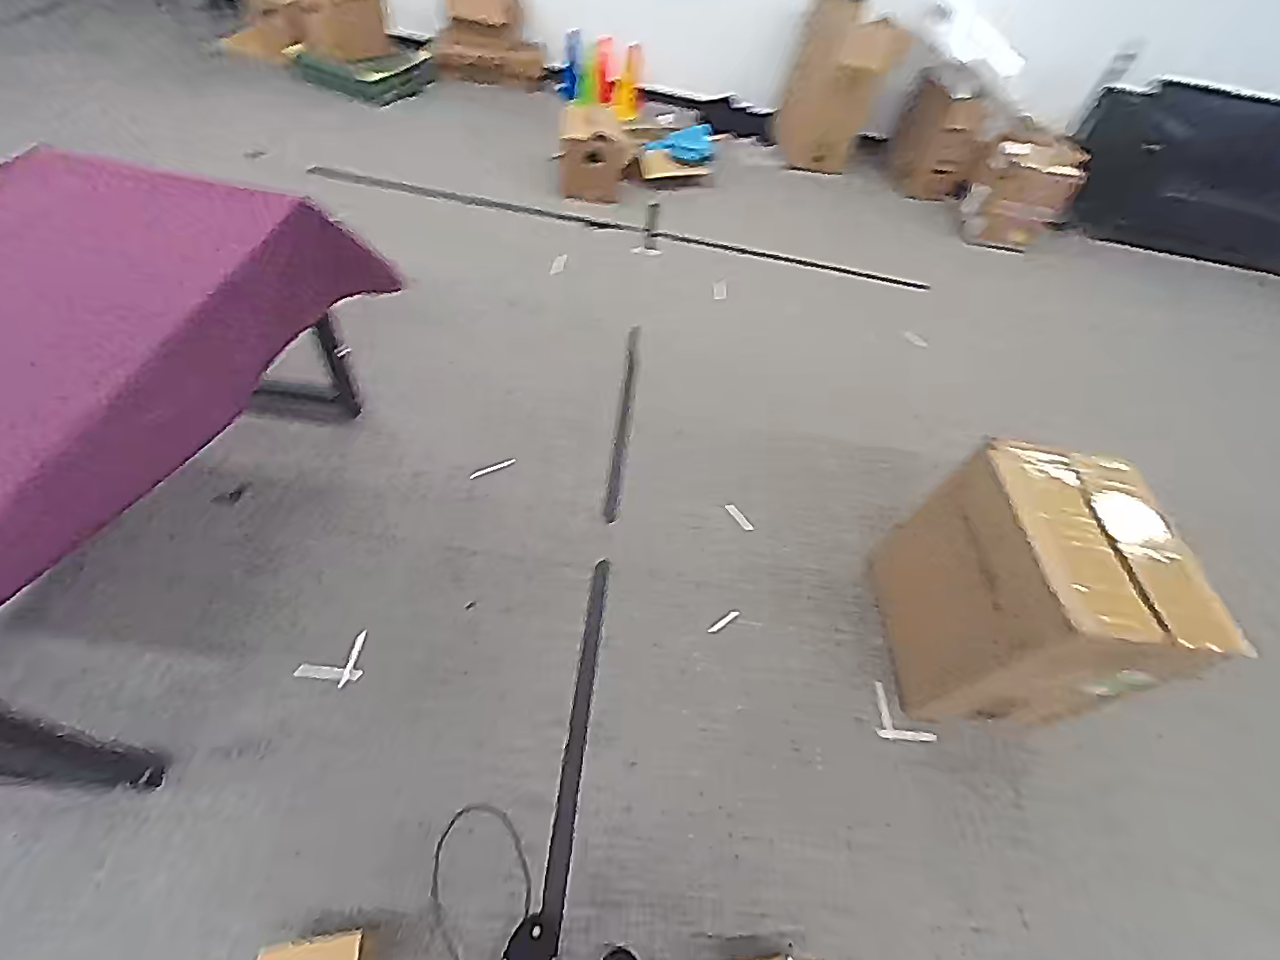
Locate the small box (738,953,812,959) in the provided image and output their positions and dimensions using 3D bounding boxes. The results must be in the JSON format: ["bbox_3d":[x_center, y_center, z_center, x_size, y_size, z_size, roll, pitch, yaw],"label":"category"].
[{"bbox_3d":[0.289,1.049,1.049,0.168,0.176,0.179,2,53,-10],"label":"small box"}]

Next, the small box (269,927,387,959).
[{"bbox_3d":[-0.569,0.931,0.975,0.168,0.176,0.179,0,51,-12],"label":"small box"}]
